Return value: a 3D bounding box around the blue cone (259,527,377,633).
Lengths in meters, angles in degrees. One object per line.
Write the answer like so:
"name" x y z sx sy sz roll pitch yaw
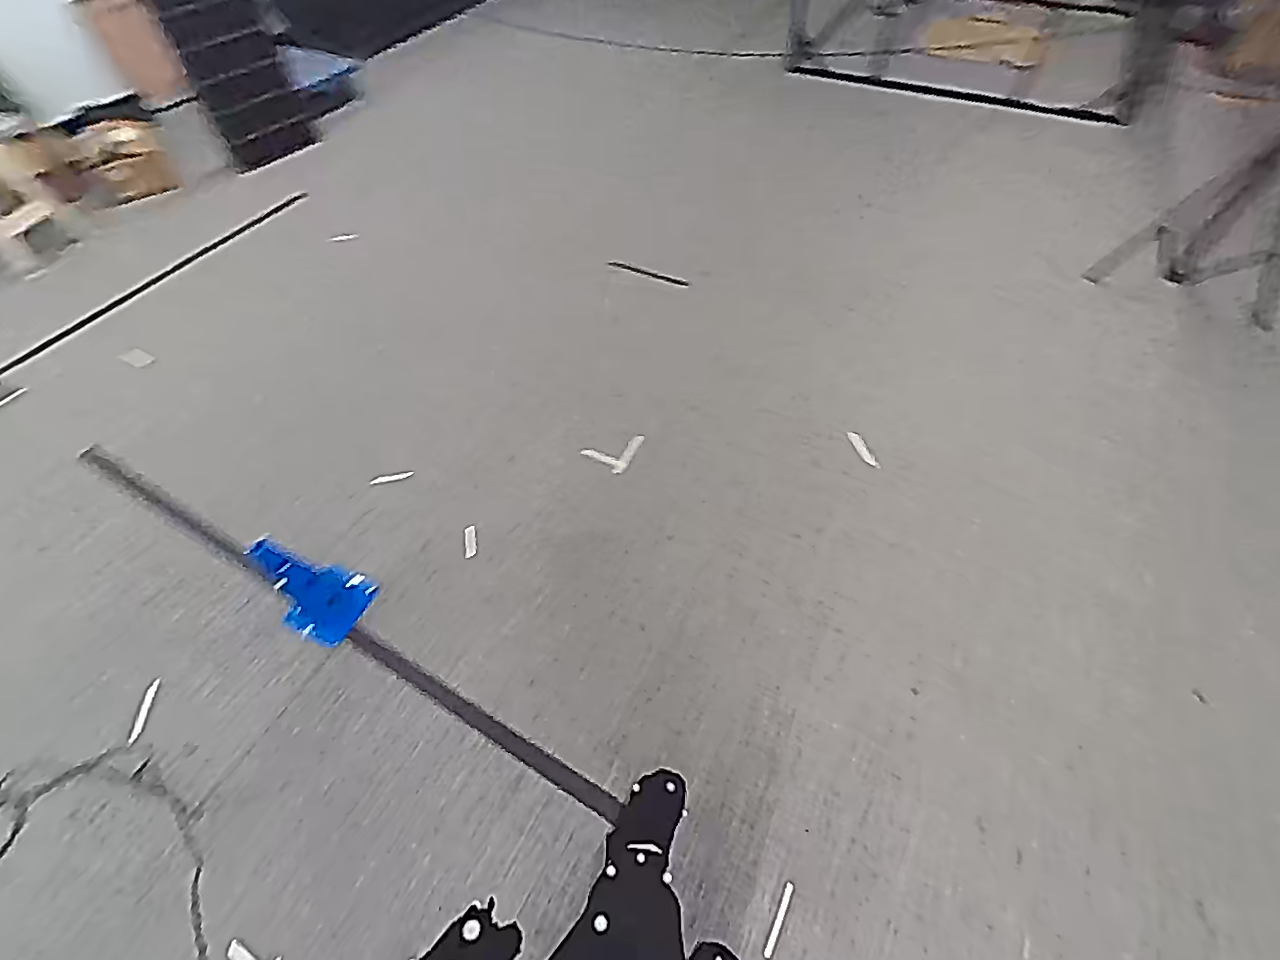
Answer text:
"blue cone" -0.890 0.241 1.429 0.193 0.380 0.192 22 57 15
